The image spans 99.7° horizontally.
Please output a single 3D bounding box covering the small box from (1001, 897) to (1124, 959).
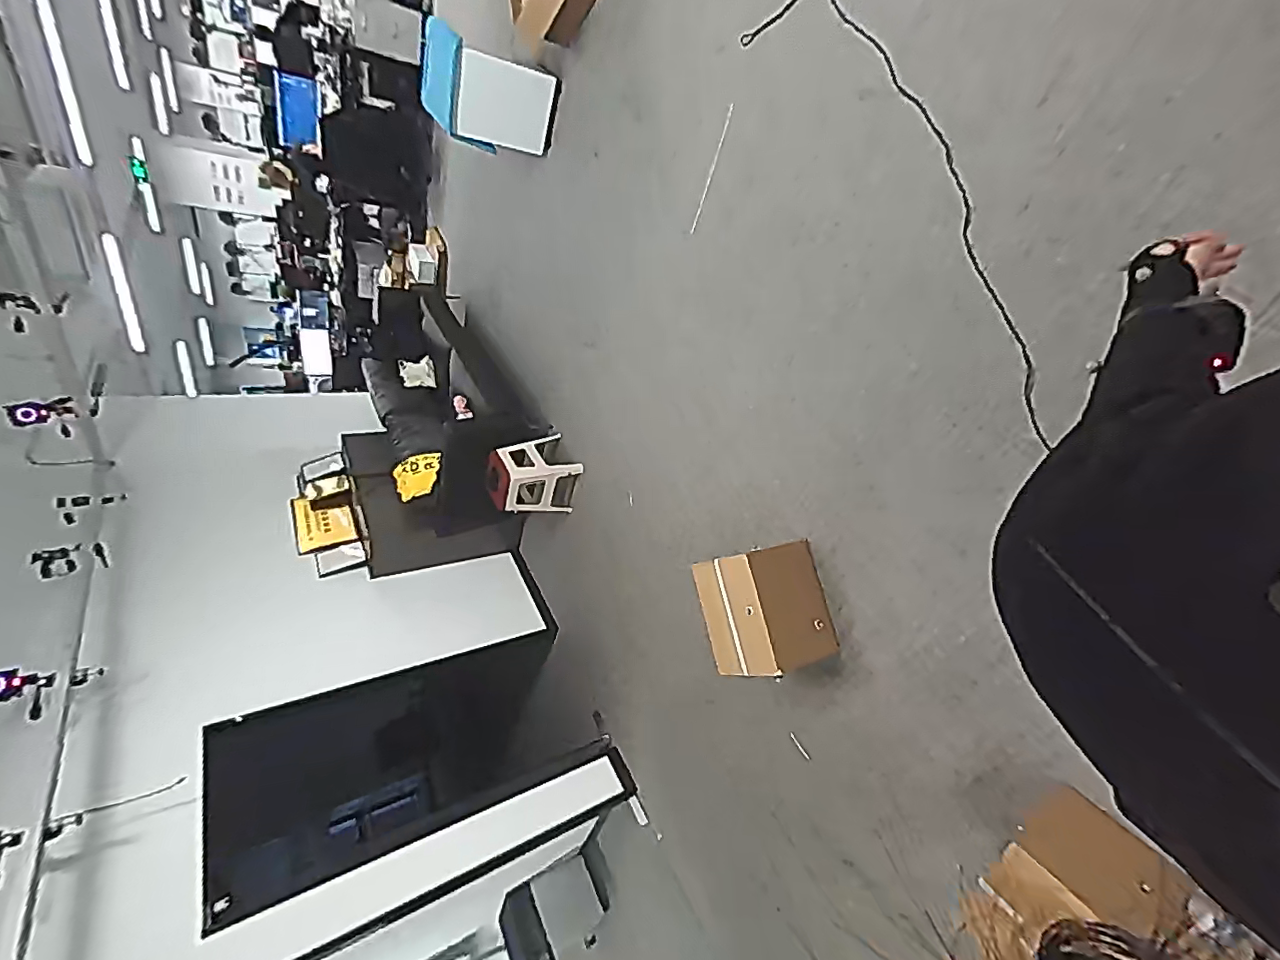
[{"bbox_3d":[0.825,0.972,1.057,0.168,0.176,0.179,45,131,43],"label":"small box"}]

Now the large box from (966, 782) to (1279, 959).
[{"bbox_3d":[1.037,0.983,1.188,0.408,0.320,0.320,37,127,45],"label":"large box"}]

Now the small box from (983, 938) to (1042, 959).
[{"bbox_3d":[0.689,0.993,0.973,0.179,0.176,0.168,46,132,42],"label":"small box"}]
